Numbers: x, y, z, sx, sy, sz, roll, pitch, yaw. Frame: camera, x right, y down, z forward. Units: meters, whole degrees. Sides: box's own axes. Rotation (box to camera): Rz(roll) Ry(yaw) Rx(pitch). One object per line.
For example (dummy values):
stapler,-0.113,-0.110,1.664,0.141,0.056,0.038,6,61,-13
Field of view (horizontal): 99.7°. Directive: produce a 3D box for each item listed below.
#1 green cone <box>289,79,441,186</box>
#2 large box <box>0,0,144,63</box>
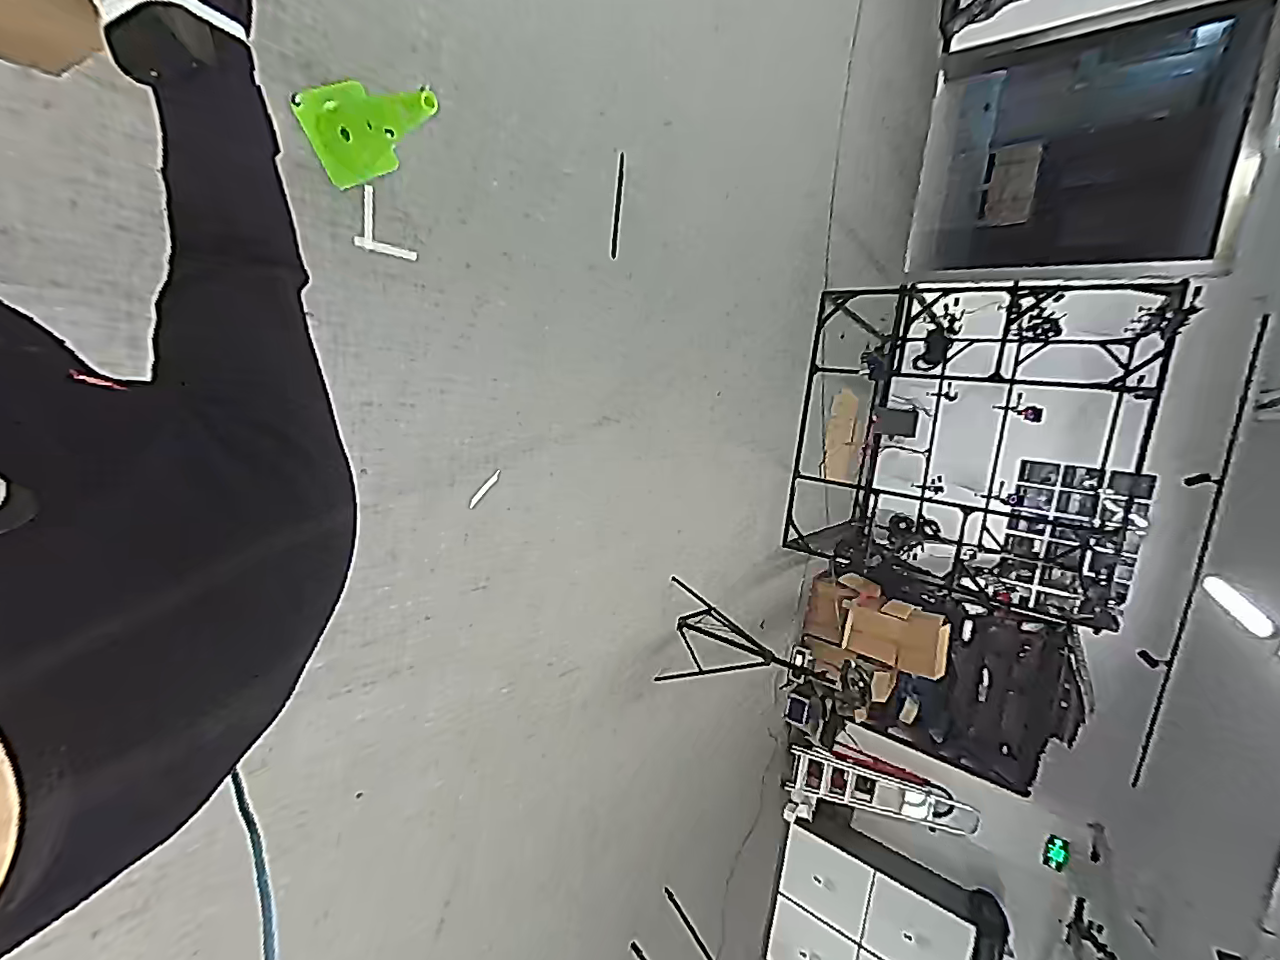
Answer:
green cone,-0.585,-0.824,1.236,0.202,0.368,0.200,-51,138,-35
large box,-0.565,-0.492,0.266,0.408,0.320,0.320,-12,117,-54
